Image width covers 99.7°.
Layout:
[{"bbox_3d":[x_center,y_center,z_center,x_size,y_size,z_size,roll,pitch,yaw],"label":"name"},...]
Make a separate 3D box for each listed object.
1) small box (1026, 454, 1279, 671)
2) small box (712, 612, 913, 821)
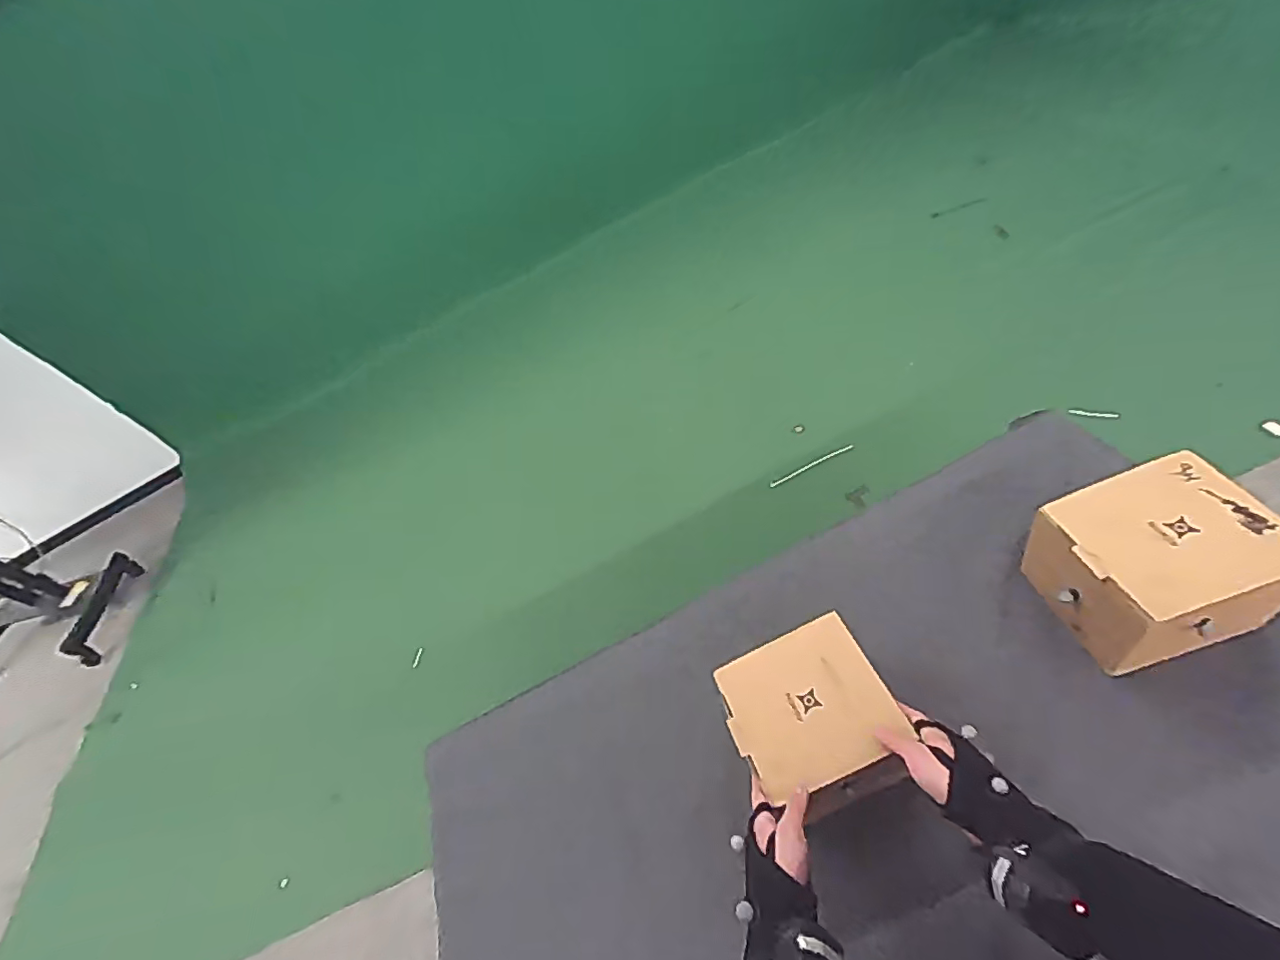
[{"bbox_3d":[0.603,0.106,0.651,0.179,0.176,0.168,-23,47,8],"label":"small box"},{"bbox_3d":[0.218,0.305,0.686,0.179,0.176,0.168,-27,48,2],"label":"small box"}]
